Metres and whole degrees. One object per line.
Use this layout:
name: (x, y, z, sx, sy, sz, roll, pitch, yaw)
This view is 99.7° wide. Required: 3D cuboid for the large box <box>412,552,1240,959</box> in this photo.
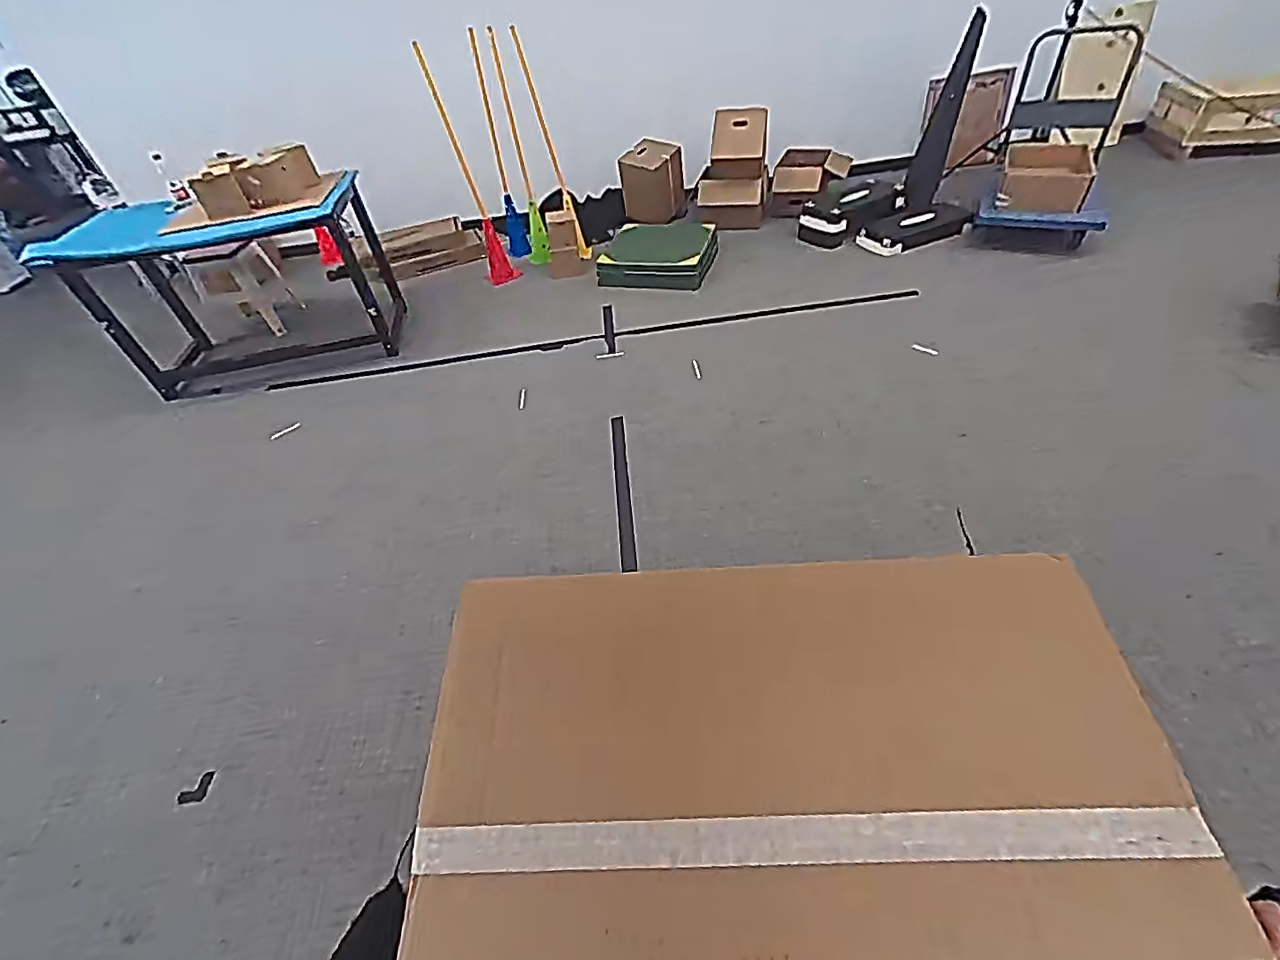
large box: (0.090, 0.273, 0.417, 0.408, 0.320, 0.320, -4, 56, 3)
